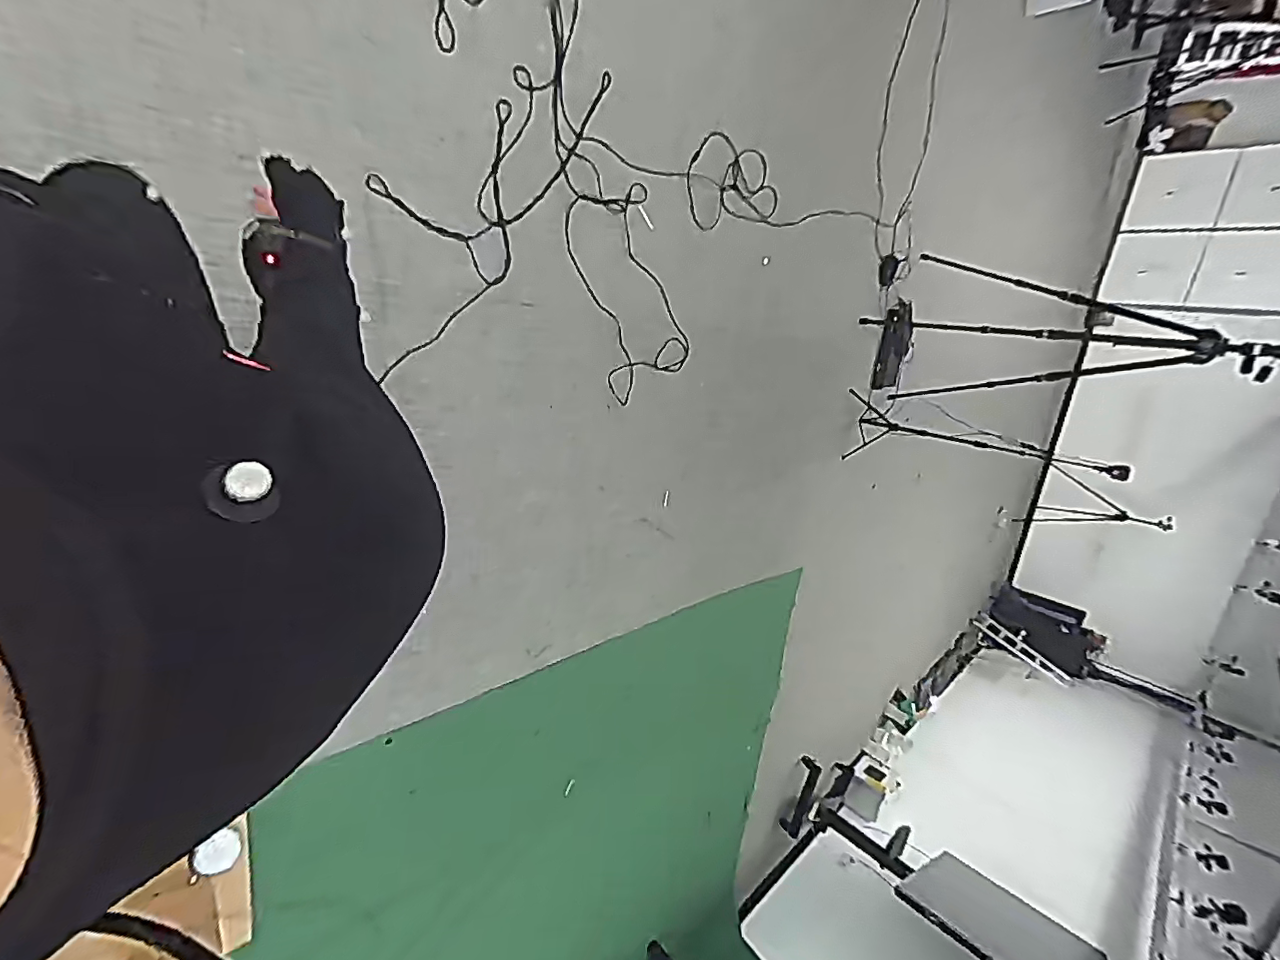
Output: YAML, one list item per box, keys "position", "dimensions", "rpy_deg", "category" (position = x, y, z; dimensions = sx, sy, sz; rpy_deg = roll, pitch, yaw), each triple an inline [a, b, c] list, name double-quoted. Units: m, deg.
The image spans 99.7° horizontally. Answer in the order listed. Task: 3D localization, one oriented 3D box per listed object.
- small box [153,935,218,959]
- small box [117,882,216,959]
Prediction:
- position: [-1.042, 1.187, 1.204]
  dimensions: [0.168, 0.176, 0.179]
  rpy_deg: [-3, 107, -45]
  category: "small box"
- position: [-1.150, 1.131, 1.313]
  dimensions: [0.168, 0.176, 0.179]
  rpy_deg: [-5, 110, -46]
  category: "small box"
